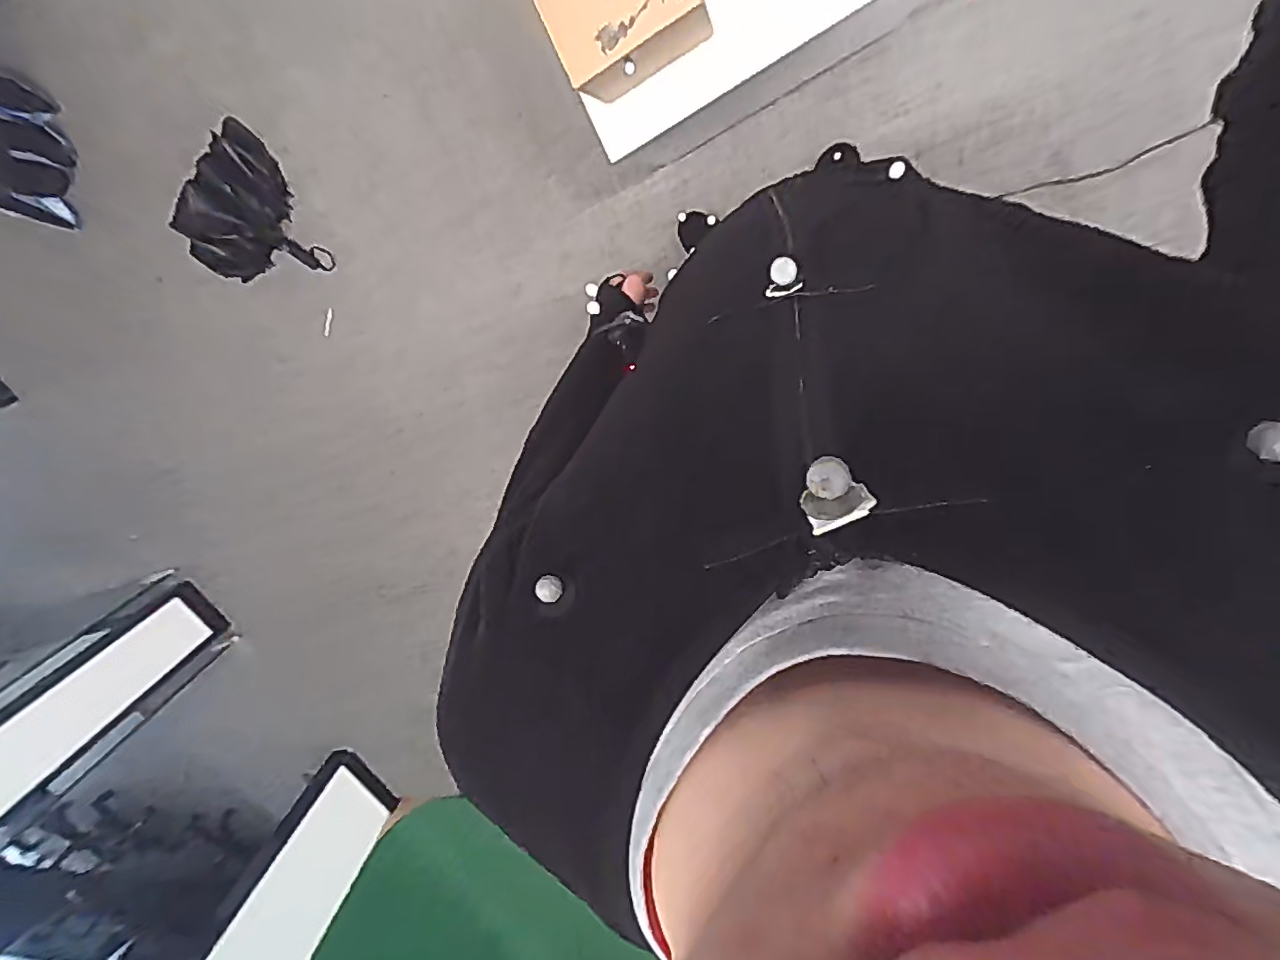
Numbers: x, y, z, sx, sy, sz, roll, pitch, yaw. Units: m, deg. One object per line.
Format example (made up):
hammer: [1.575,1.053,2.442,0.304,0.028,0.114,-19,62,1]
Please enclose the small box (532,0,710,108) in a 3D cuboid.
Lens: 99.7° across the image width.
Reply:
small box: [-0.028,-0.578,0.634,0.168,0.176,0.179,-20,112,21]
